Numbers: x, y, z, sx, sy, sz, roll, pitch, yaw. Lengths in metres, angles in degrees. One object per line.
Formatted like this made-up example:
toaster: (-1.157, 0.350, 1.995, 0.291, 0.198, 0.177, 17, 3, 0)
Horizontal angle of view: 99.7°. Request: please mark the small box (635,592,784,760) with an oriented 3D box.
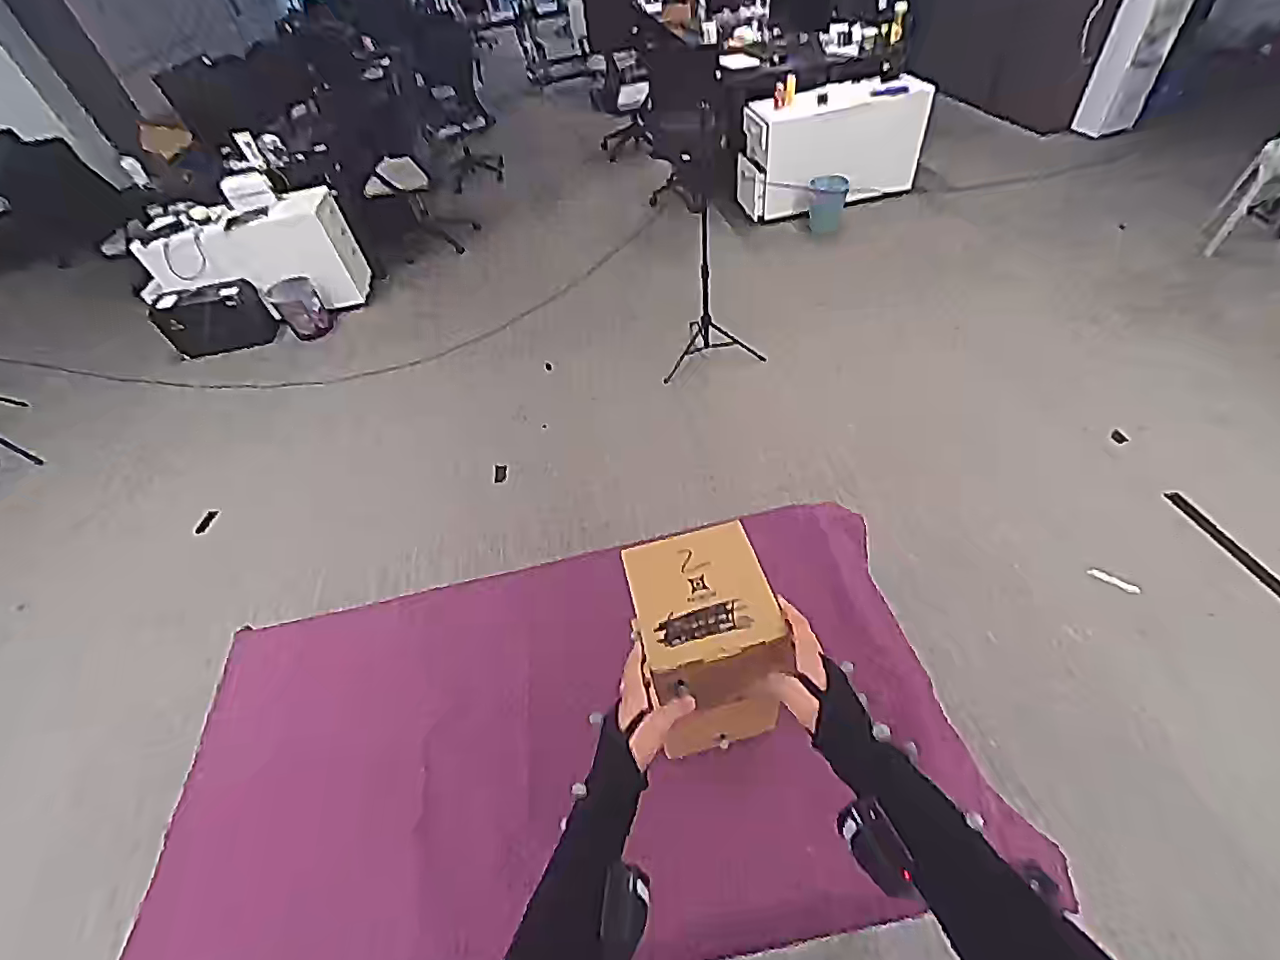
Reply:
small box: (0.100, 0.301, 0.827, 0.179, 0.176, 0.168, -14, 47, -5)
